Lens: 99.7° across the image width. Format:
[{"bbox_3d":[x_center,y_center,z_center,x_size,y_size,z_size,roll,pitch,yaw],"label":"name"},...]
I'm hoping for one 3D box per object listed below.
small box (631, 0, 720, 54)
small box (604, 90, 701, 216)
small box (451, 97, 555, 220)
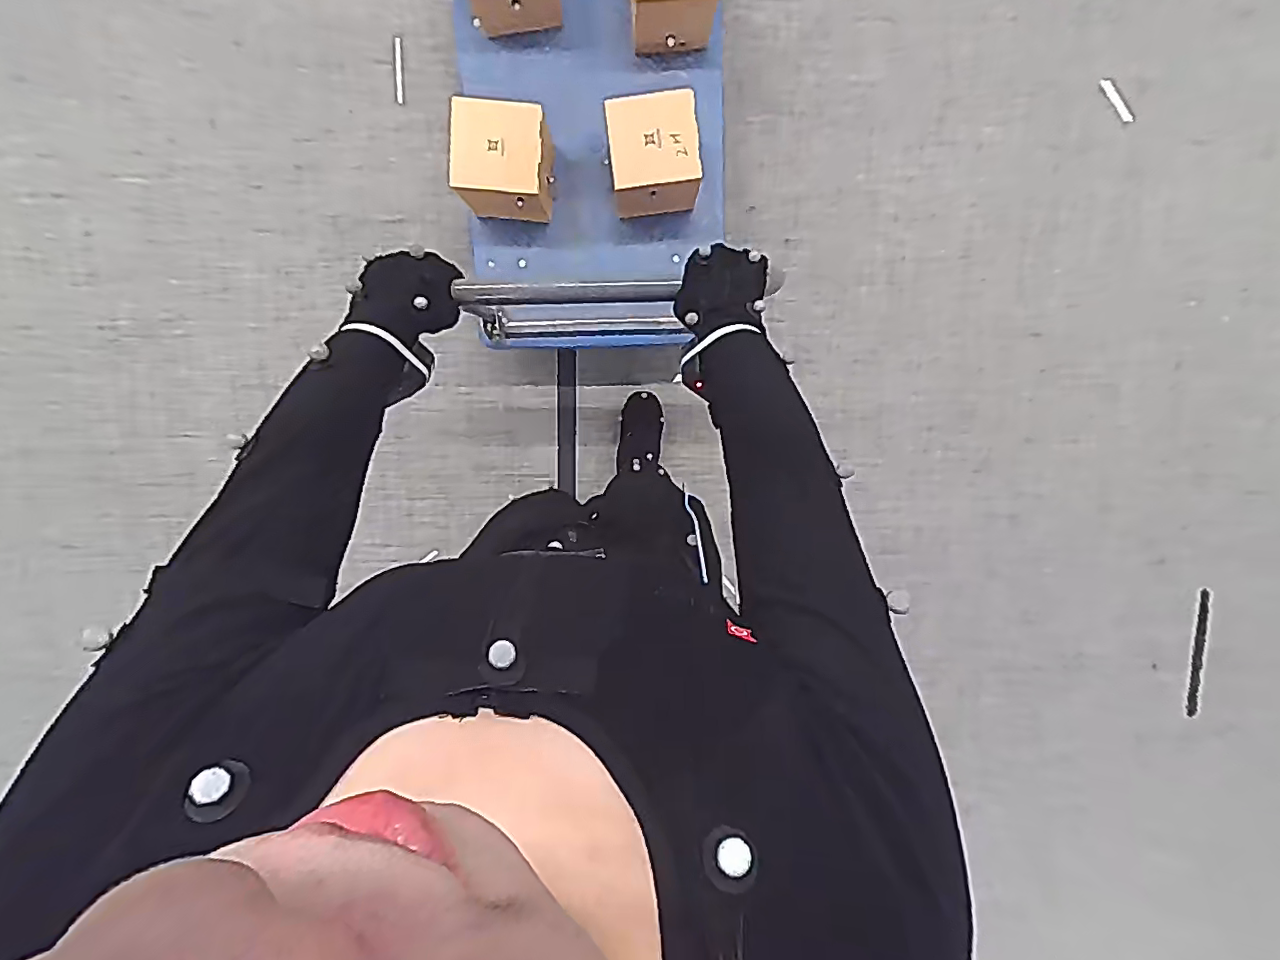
[{"bbox_3d":[0.064,-1.005,1.084,0.168,0.176,0.179,-4,99,0],"label":"small box"},{"bbox_3d":[0.026,-0.671,1.131,0.179,0.176,0.168,-7,98,1],"label":"small box"},{"bbox_3d":[-0.280,-0.661,1.130,0.179,0.176,0.168,4,98,-3],"label":"small box"}]
